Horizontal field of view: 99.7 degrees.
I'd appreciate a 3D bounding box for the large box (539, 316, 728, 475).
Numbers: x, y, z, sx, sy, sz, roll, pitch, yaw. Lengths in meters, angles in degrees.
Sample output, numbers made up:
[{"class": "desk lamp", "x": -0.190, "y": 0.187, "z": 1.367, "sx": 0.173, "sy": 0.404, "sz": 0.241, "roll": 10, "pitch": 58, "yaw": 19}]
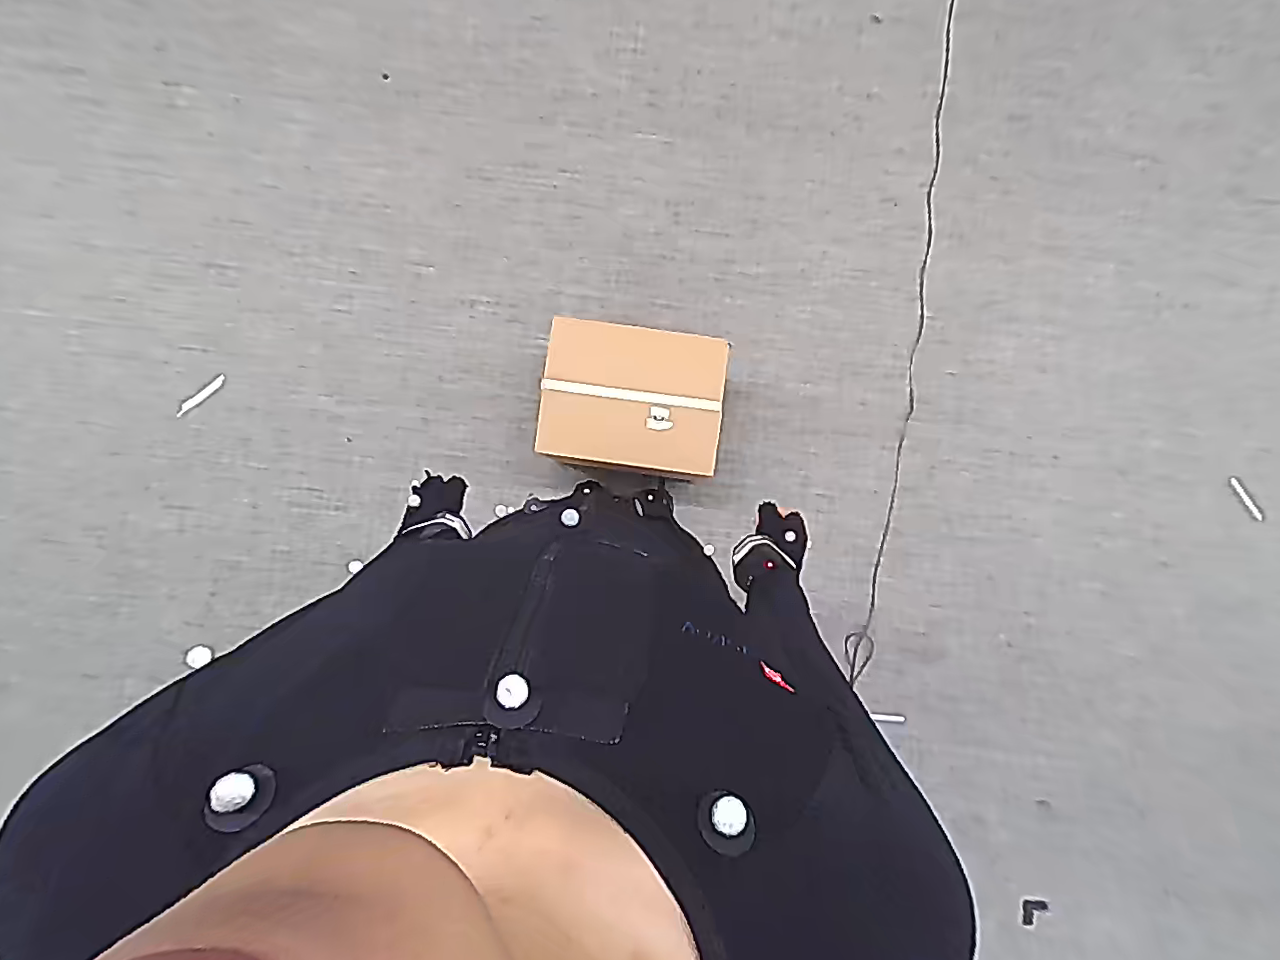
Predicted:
[{"class": "large box", "x": -0.019, "y": -0.191, "z": 1.365, "sx": 0.408, "sy": 0.320, "sz": 0.320, "roll": 7, "pitch": 88, "yaw": -1}]
